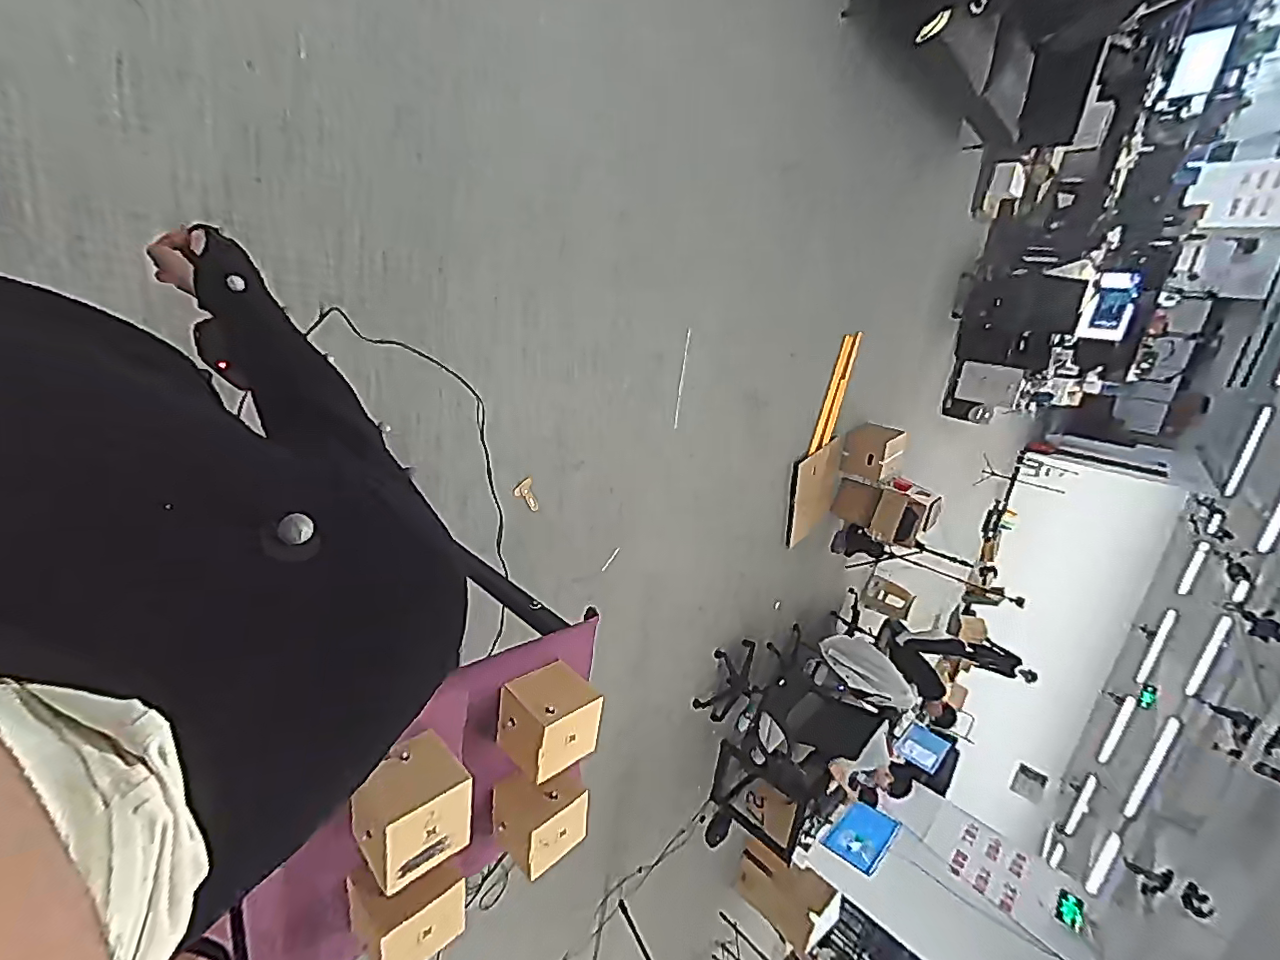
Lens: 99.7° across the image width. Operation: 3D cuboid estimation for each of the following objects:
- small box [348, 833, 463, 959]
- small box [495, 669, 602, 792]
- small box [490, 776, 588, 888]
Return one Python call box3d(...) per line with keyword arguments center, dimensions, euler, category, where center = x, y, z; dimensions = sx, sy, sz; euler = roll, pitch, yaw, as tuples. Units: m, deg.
box3d(center=(-0.491, 0.897, 1.124), dimensions=(0.179, 0.176, 0.168), euler=(-12, 116, -46), category="small box")
box3d(center=(-0.217, 0.579, 1.280), dimensions=(0.179, 0.176, 0.168), euler=(-9, 115, -45), category="small box")
box3d(center=(-0.256, 0.854, 1.364), dimensions=(0.179, 0.176, 0.168), euler=(-14, 116, -44), category="small box")
